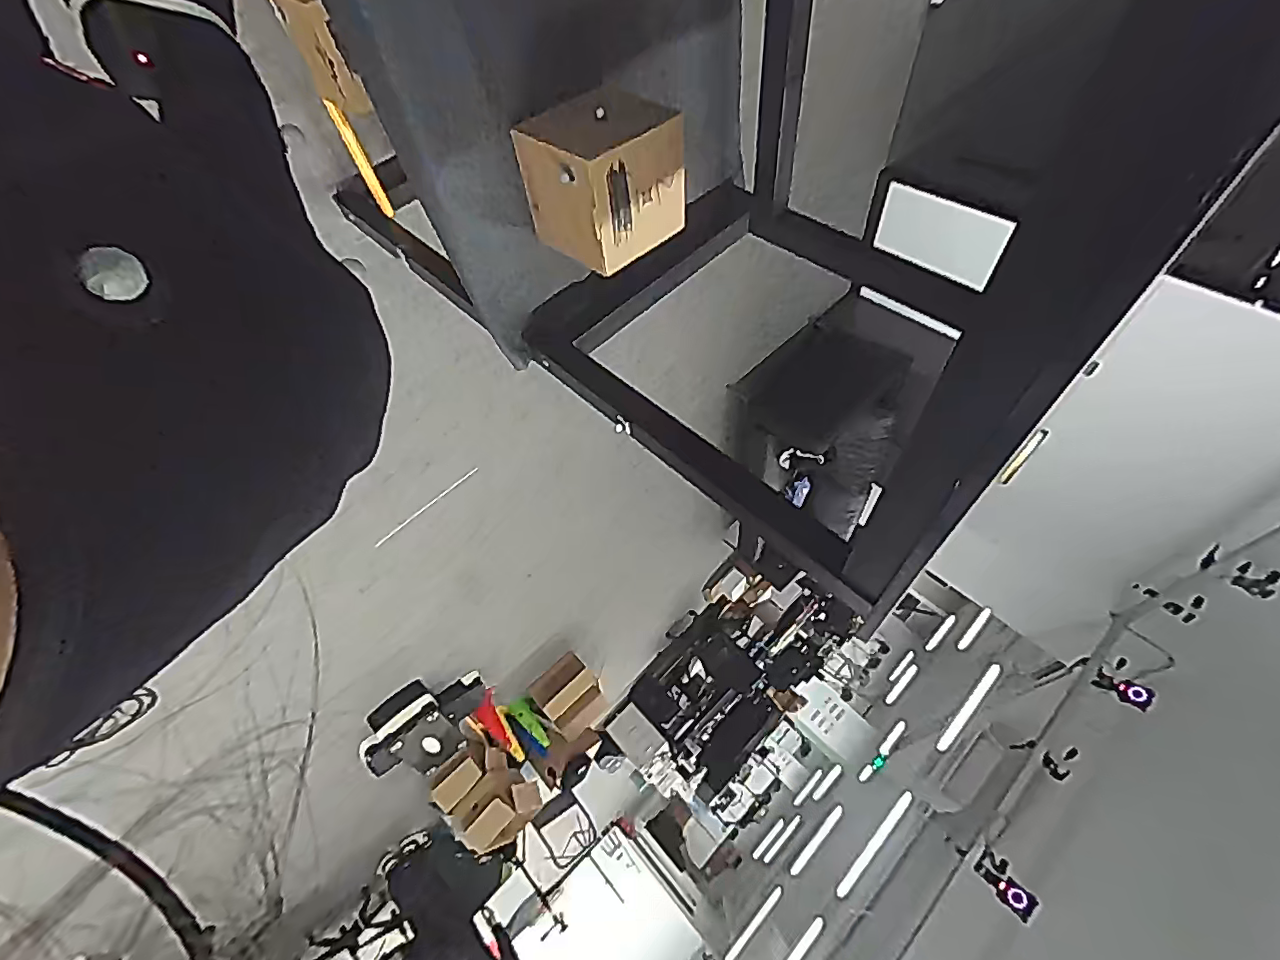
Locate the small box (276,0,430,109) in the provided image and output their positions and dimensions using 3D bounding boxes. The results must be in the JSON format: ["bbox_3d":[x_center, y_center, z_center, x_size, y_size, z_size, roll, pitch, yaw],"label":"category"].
[{"bbox_3d":[-0.528,-0.817,0.991,0.179,0.176,0.168,-39,151,-21],"label":"small box"}]
